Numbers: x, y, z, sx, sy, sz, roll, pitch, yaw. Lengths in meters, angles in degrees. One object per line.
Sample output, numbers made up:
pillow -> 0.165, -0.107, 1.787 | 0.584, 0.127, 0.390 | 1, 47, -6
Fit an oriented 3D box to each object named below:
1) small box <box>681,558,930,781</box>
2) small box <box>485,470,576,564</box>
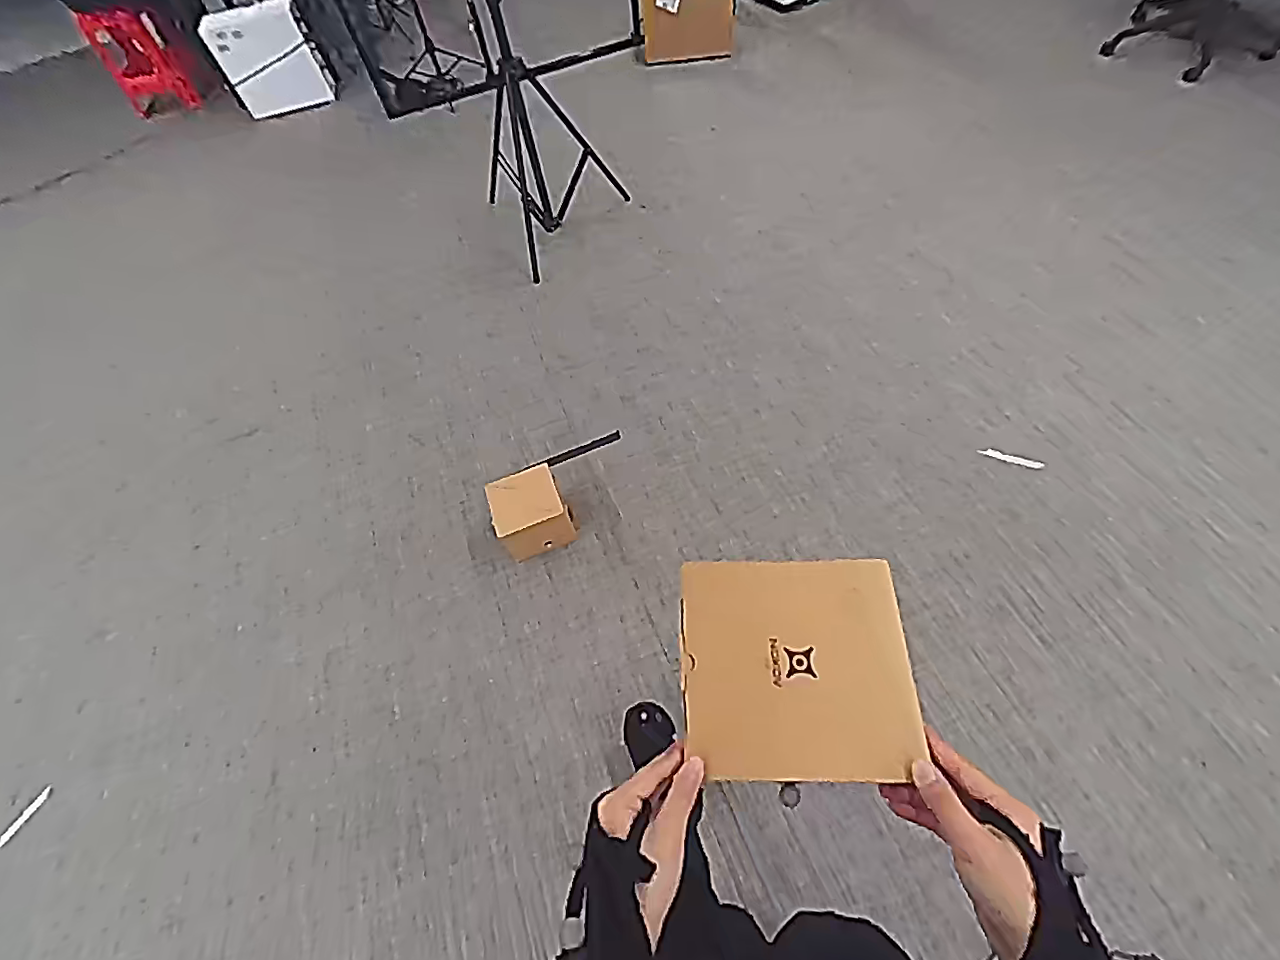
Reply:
small box -> 0.127, 0.176, 0.493 | 0.179, 0.176, 0.168 | -2, 62, 5
small box -> -0.290, 0.096, 1.449 | 0.179, 0.176, 0.168 | -21, 59, -6
